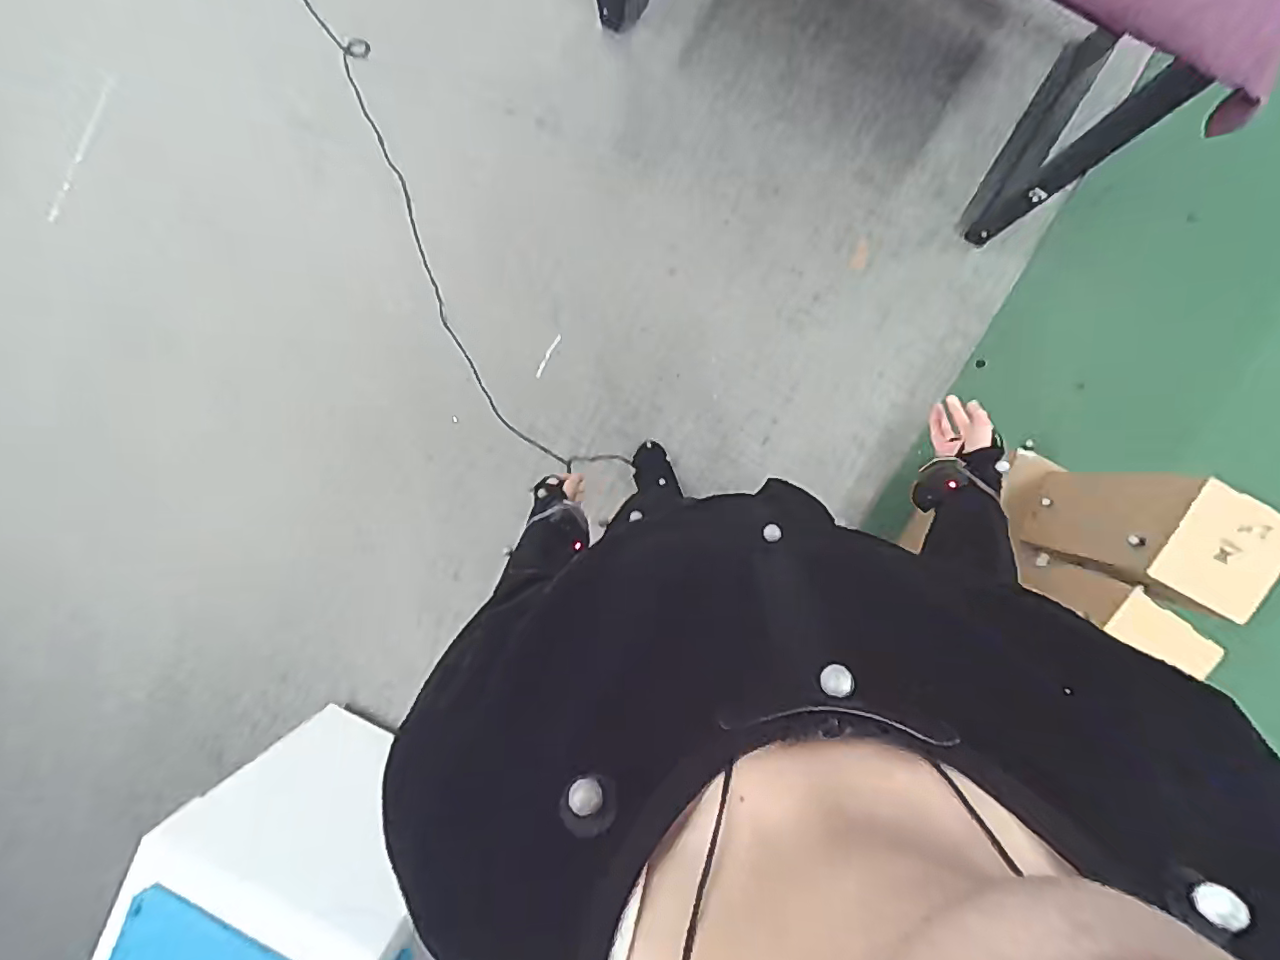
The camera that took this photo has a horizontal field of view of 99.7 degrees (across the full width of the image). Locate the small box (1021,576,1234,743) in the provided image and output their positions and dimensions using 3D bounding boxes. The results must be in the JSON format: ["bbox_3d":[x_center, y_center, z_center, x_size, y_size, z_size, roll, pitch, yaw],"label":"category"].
[{"bbox_3d":[0.788,0.286,0.902,0.168,0.176,0.179,36,93,4],"label":"small box"}]

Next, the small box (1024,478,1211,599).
[{"bbox_3d":[0.908,0.102,1.048,0.179,0.176,0.168,26,94,4],"label":"small box"}]
